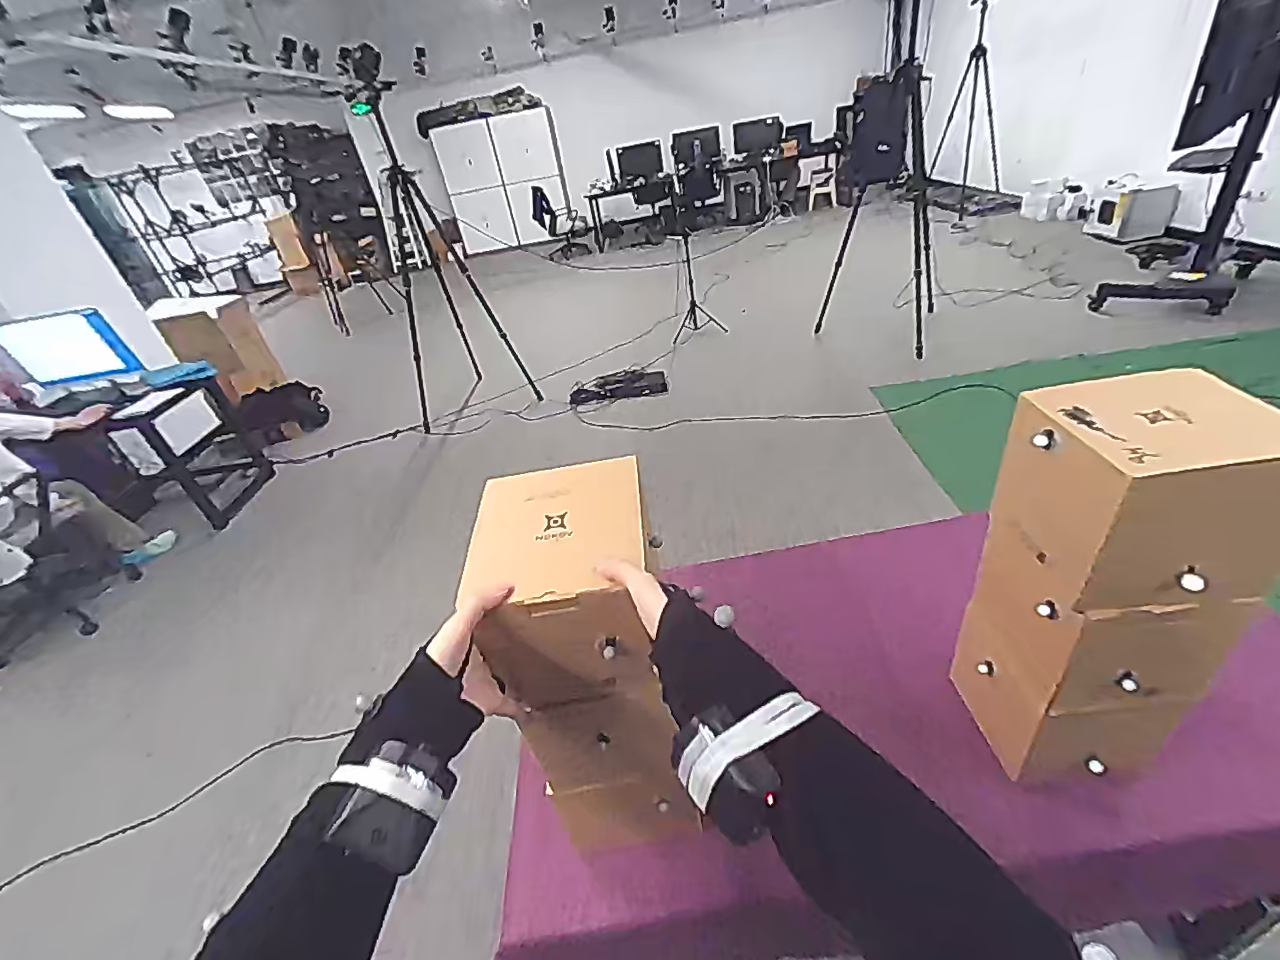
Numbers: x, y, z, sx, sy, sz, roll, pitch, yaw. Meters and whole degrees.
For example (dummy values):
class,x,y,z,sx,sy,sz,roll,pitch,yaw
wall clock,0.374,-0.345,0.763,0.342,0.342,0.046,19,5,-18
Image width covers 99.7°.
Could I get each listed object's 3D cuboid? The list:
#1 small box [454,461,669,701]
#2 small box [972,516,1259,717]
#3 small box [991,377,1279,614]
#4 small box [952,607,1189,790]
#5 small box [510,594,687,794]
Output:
class,x,y,z,sx,sy,sz,roll,pitch,yaw
small box,-0.066,0.109,0.556,0.168,0.176,0.179,-9,40,4
small box,0.527,0.149,0.639,0.168,0.176,0.179,-8,34,4
small box,0.499,0.015,0.547,0.179,0.176,0.168,-7,34,5
small box,0.551,0.283,0.728,0.168,0.176,0.179,-9,34,5
small box,-0.042,0.248,0.656,0.179,0.176,0.168,-12,34,1
